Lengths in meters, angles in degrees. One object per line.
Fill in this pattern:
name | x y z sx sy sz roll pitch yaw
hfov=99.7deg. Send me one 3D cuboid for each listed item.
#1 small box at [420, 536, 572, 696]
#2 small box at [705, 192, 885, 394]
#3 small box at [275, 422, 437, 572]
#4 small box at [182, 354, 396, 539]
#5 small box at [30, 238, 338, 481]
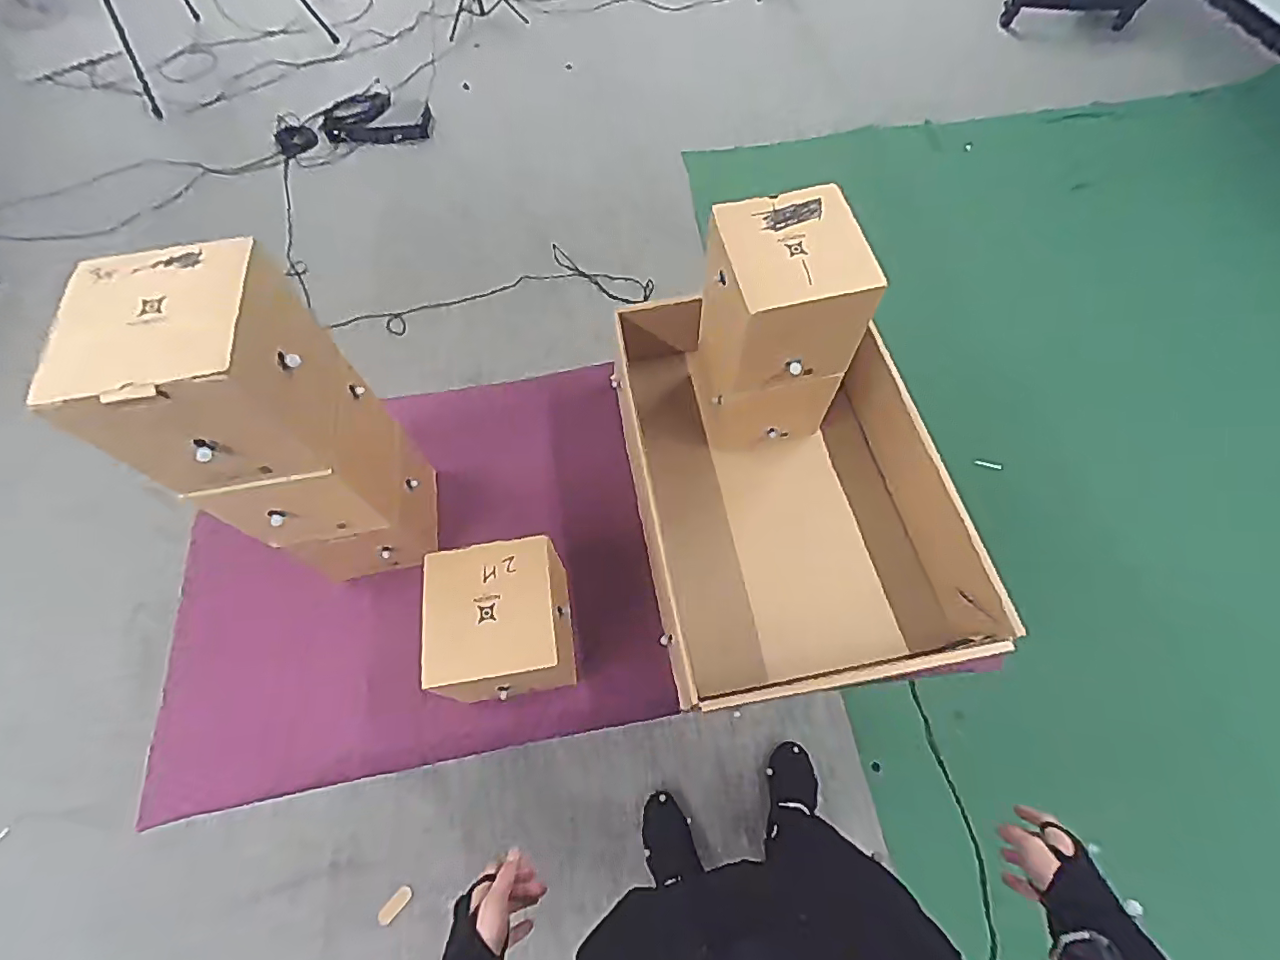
small box | -0.192 0.198 0.756 0.168 0.176 0.179 -8 63 -3
small box | 0.187 -0.242 0.719 0.168 0.176 0.179 -12 66 -2
small box | -0.429 0.035 0.848 0.168 0.176 0.179 -9 63 -4
small box | -0.433 -0.033 0.702 0.168 0.176 0.179 -10 63 -4
small box | -0.437 -0.111 0.557 0.168 0.176 0.179 -10 64 -4
